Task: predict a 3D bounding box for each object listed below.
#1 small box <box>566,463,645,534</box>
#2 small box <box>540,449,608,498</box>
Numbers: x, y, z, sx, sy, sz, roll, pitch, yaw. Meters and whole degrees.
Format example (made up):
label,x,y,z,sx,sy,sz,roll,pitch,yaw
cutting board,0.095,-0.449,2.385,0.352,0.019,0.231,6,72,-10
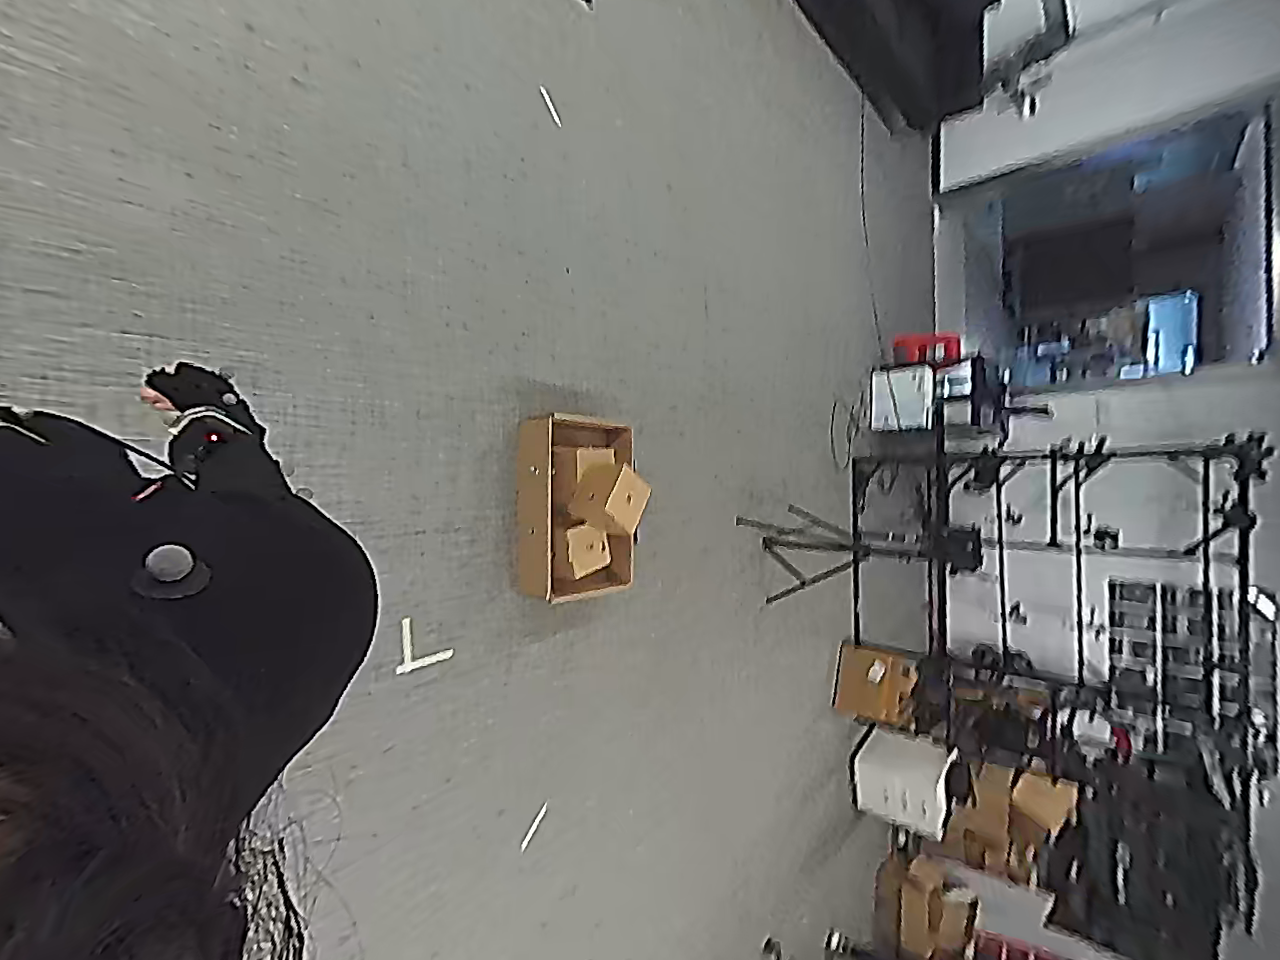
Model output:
label,x,y,z,sx,sy,sz,roll,pitch,yaw
small box,-0.118,0.061,1.785,0.168,0.176,0.179,46,56,-41
small box,-0.232,-0.024,1.901,0.179,0.176,0.168,-3,93,-48
